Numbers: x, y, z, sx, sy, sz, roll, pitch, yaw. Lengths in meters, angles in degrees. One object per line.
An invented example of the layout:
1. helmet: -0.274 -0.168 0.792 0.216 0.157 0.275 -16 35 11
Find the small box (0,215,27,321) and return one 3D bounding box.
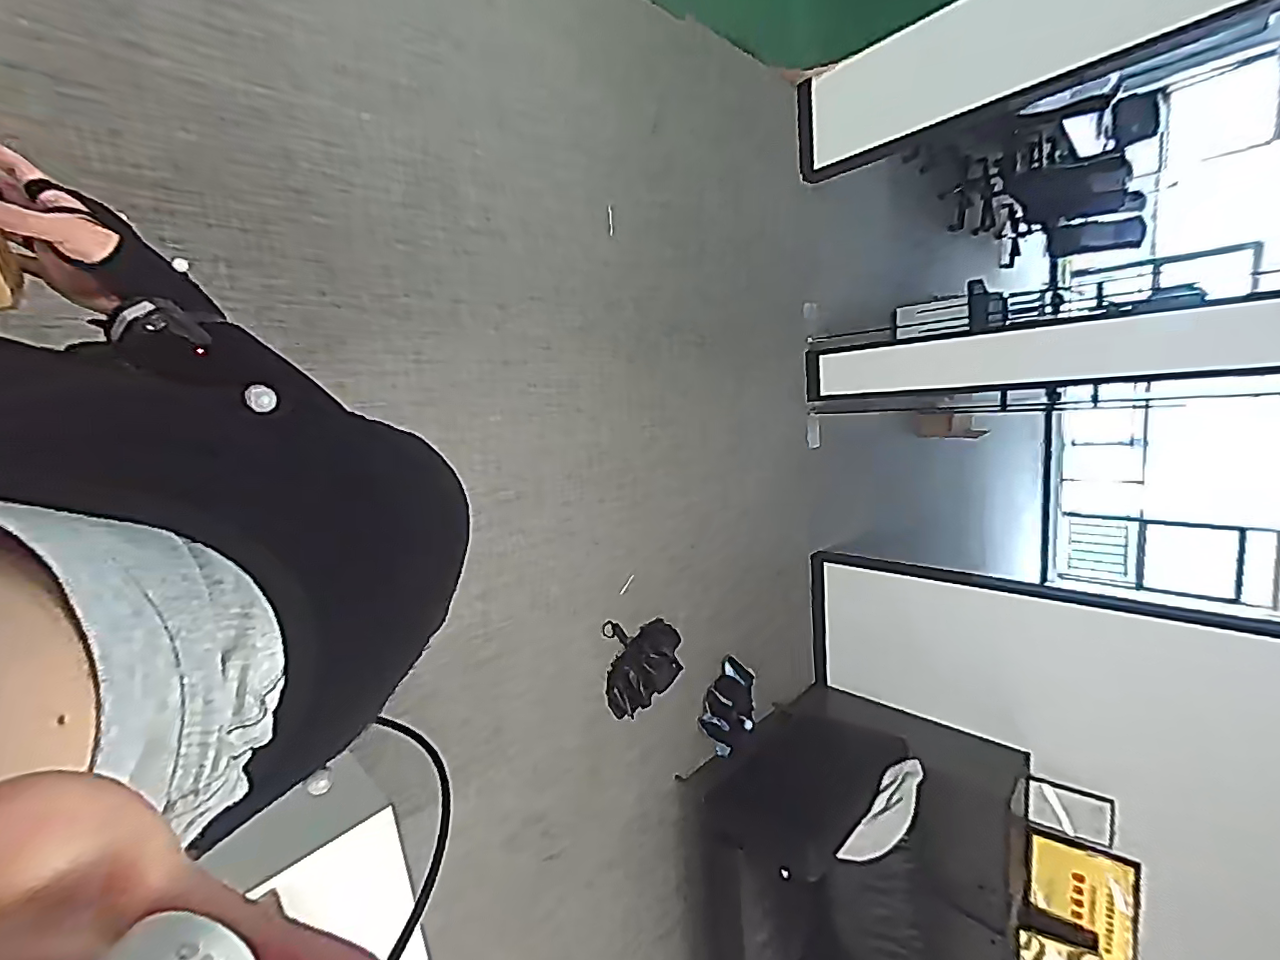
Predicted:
1. small box: -0.536 -0.191 0.337 0.168 0.176 0.179 -26 127 -38

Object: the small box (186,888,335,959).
1. small box: -0.537 0.758 0.785 0.168 0.176 0.179 -22 109 -42
